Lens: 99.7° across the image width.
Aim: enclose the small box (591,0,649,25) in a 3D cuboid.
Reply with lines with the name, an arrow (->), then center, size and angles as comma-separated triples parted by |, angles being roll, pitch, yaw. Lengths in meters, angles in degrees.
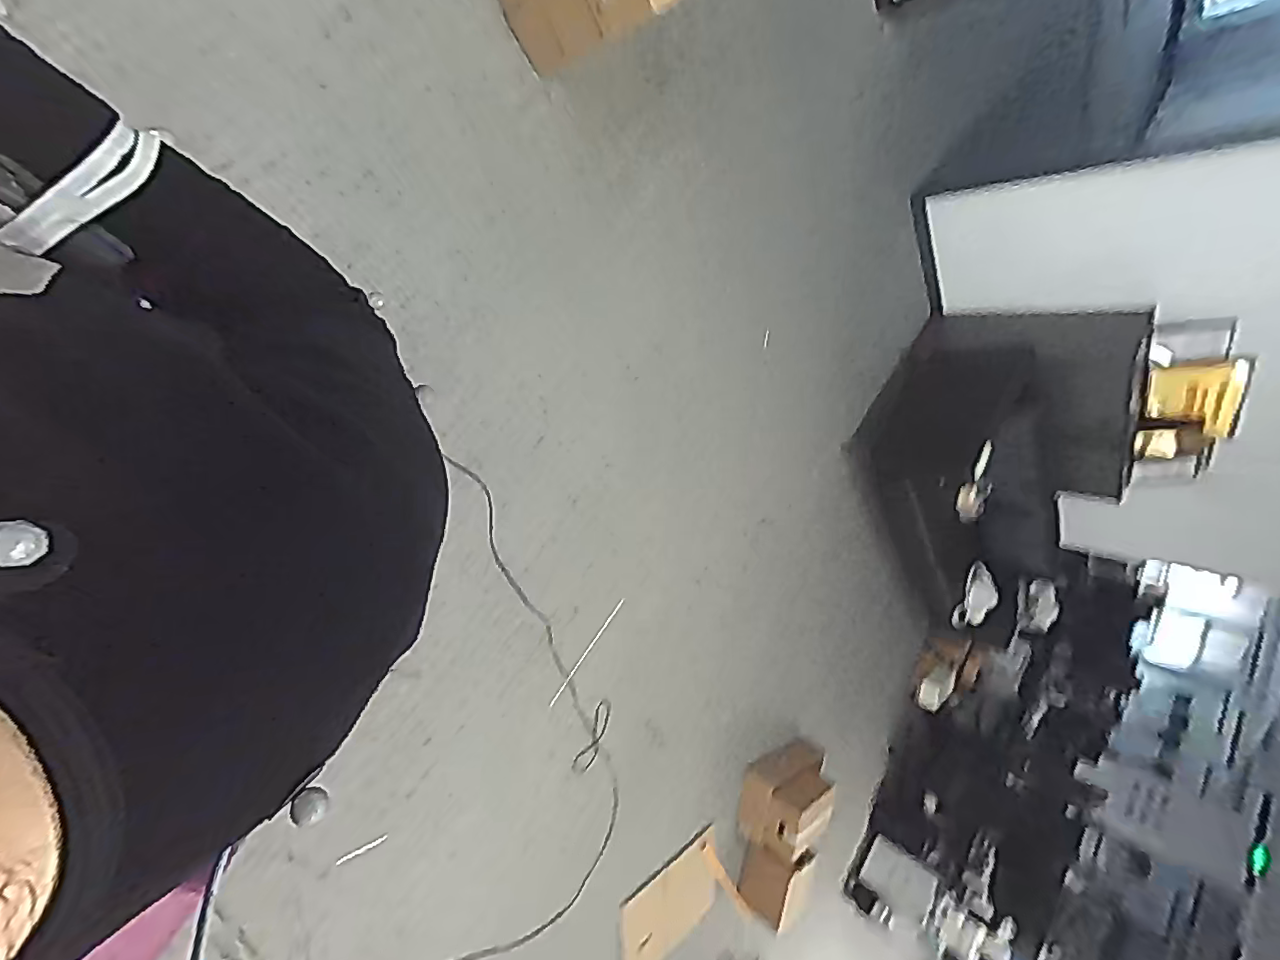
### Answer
small box -> -0.022, -1.179, 1.213 | 0.179, 0.176, 0.168 | -53, 131, -20
